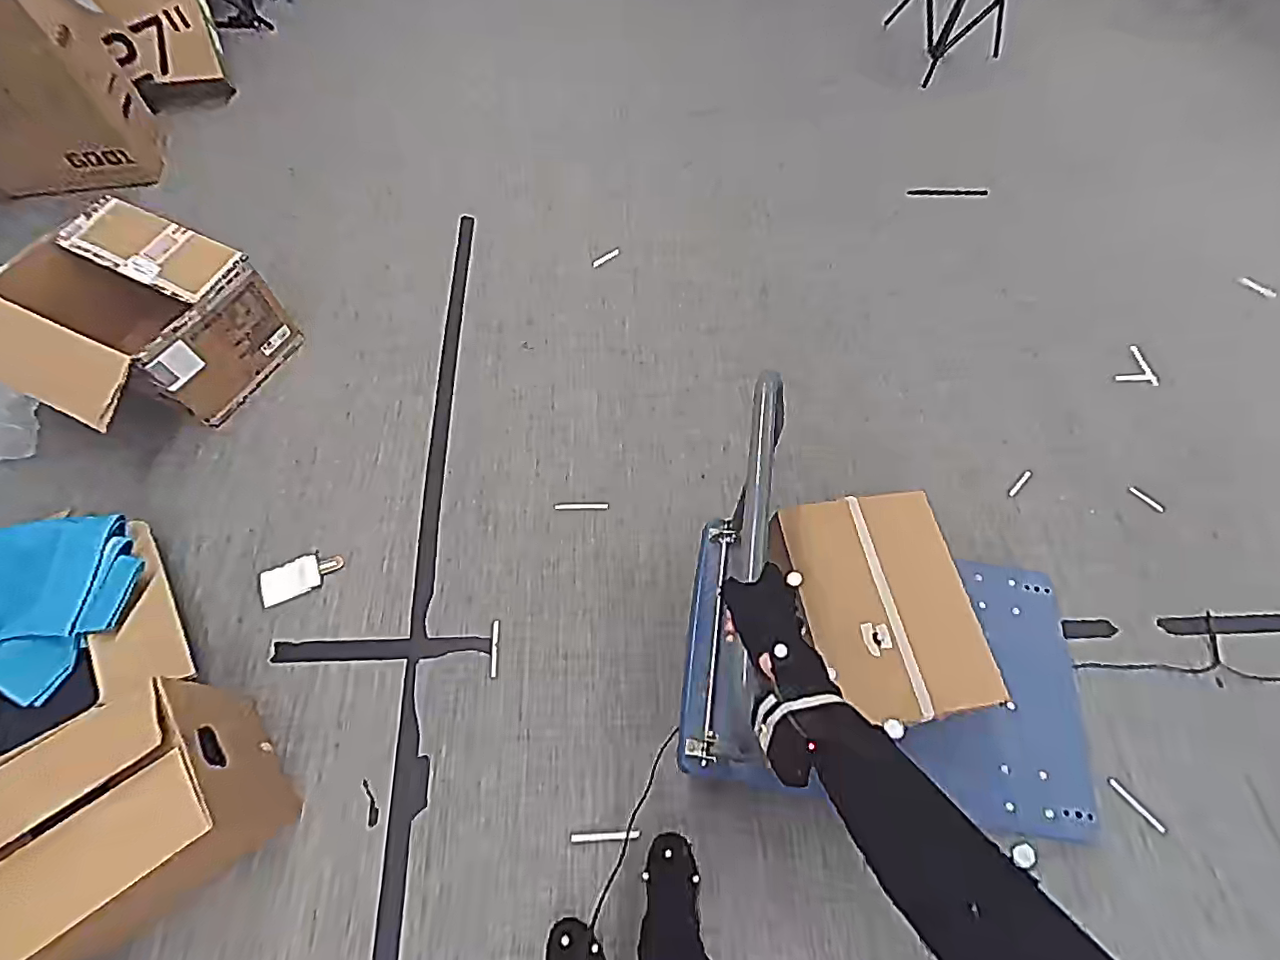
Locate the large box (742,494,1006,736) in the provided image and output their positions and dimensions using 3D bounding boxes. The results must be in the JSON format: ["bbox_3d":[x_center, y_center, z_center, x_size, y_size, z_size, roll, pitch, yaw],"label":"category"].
[{"bbox_3d":[0.435,0.285,1.121,0.320,0.320,0.408,-7,64,-6],"label":"large box"}]
